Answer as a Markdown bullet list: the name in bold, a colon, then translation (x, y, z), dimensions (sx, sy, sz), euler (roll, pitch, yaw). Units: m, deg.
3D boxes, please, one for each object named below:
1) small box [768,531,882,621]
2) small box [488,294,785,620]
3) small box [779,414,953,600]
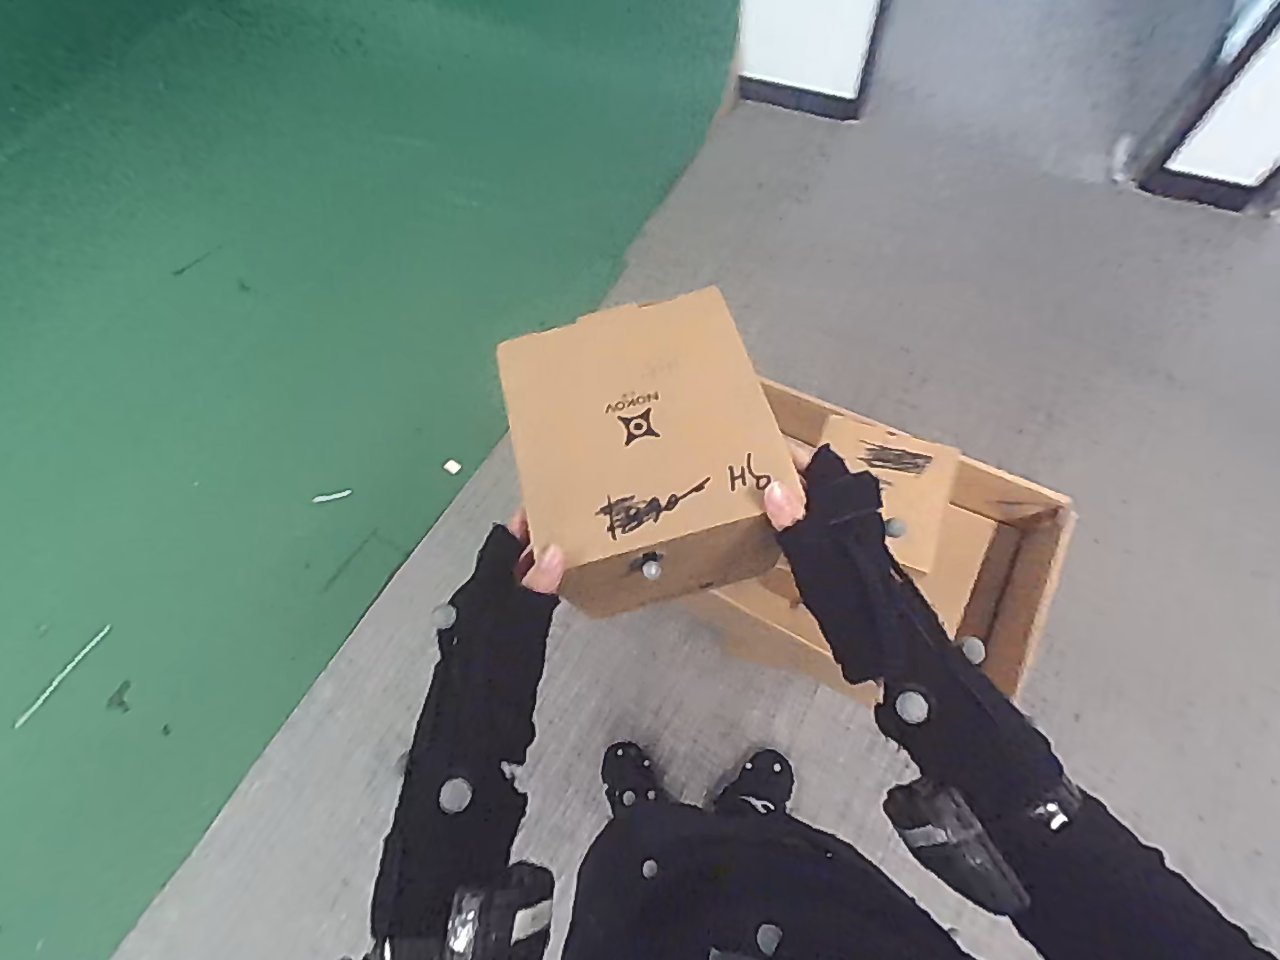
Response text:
- **small box**: translation (0.319, 0.113, 0.899), dimensions (0.168, 0.176, 0.179), euler (20, 70, 17)
- **small box**: translation (-0.004, -0.007, 0.428), dimensions (0.168, 0.176, 0.179), euler (-16, 65, -1)
- **small box**: translation (0.301, 0.043, 0.752), dimensions (0.168, 0.176, 0.179), euler (20, 70, 17)
